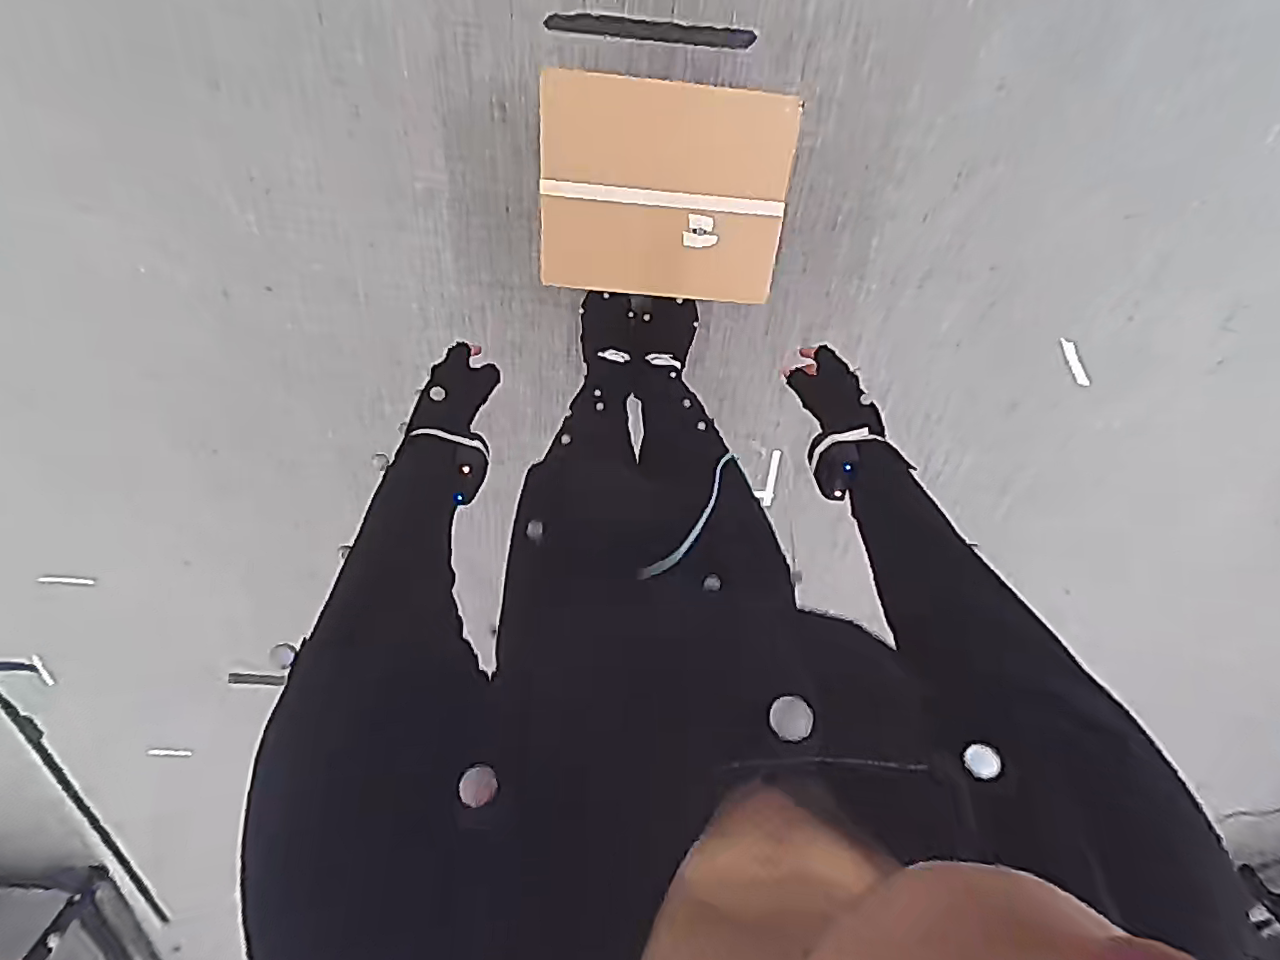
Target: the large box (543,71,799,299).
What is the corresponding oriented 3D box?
[{"bbox_3d":[0.033,-0.546,1.031,0.408,0.320,0.320,4,120,-4],"label":"large box"}]
